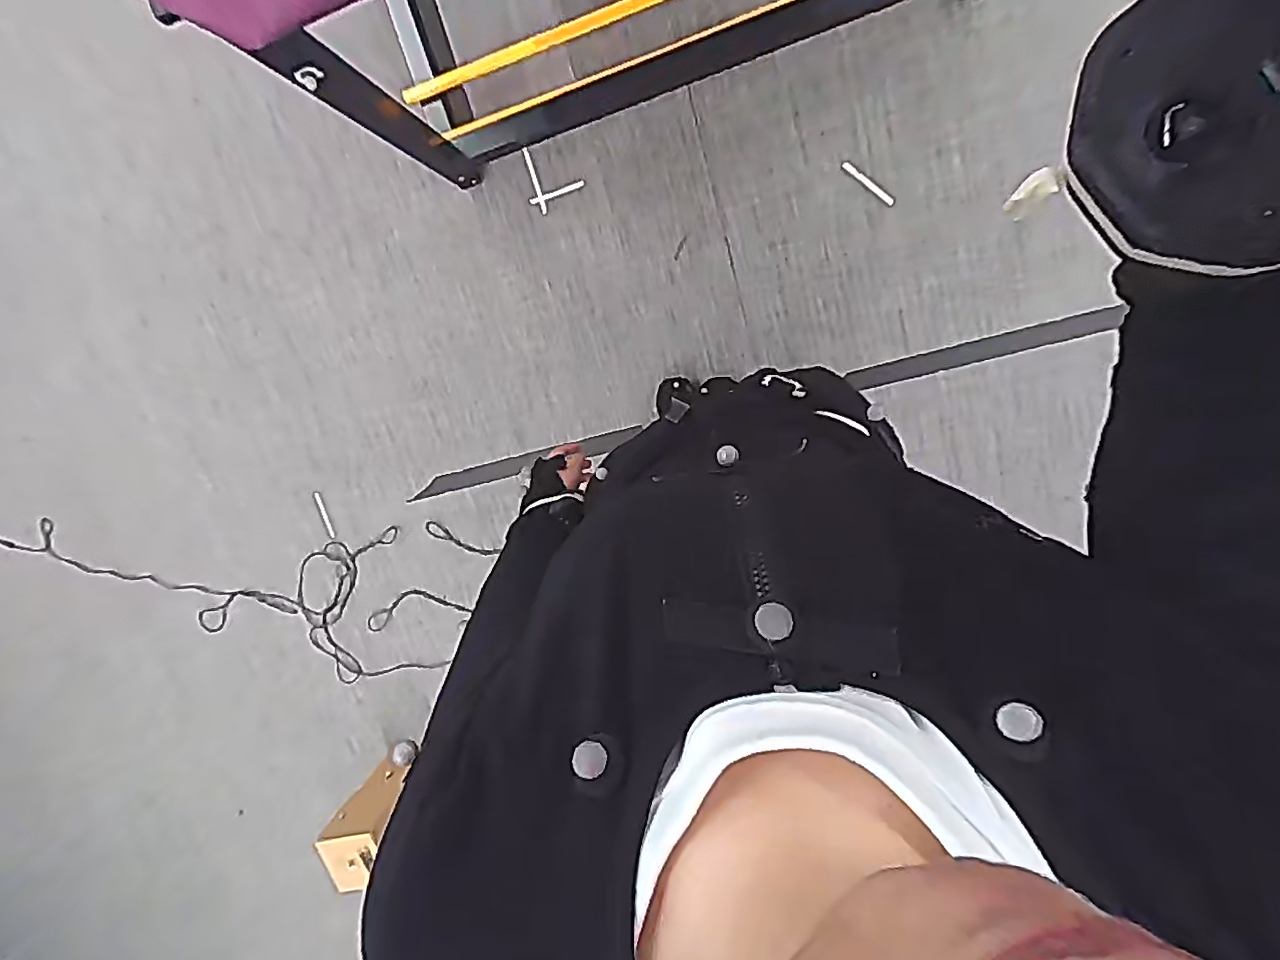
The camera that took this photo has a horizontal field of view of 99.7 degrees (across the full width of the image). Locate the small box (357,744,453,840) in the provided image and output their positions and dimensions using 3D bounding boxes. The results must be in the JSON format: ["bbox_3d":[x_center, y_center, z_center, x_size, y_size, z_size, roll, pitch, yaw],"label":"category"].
[{"bbox_3d":[-0.702,0.936,1.632,0.179,0.176,0.168,-21,100,11],"label":"small box"}]
